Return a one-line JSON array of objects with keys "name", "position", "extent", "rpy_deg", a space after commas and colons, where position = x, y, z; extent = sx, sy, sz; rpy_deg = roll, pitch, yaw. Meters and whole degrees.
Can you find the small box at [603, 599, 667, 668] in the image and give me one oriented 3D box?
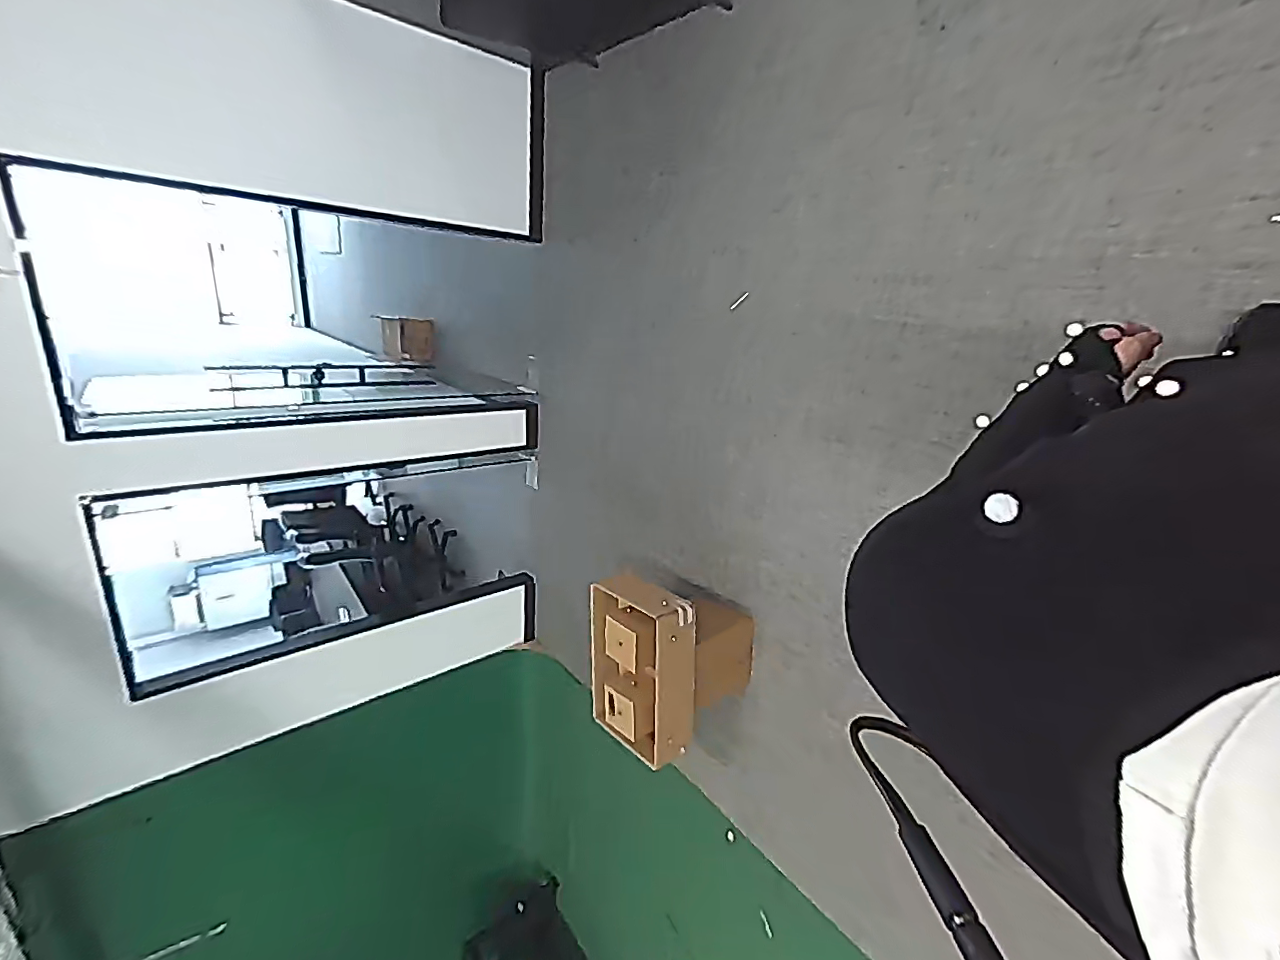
[{"name": "small box", "position": [-0.020, 0.562, 2.014], "extent": [0.179, 0.176, 0.168], "rpy_deg": [18, 113, 46]}]
